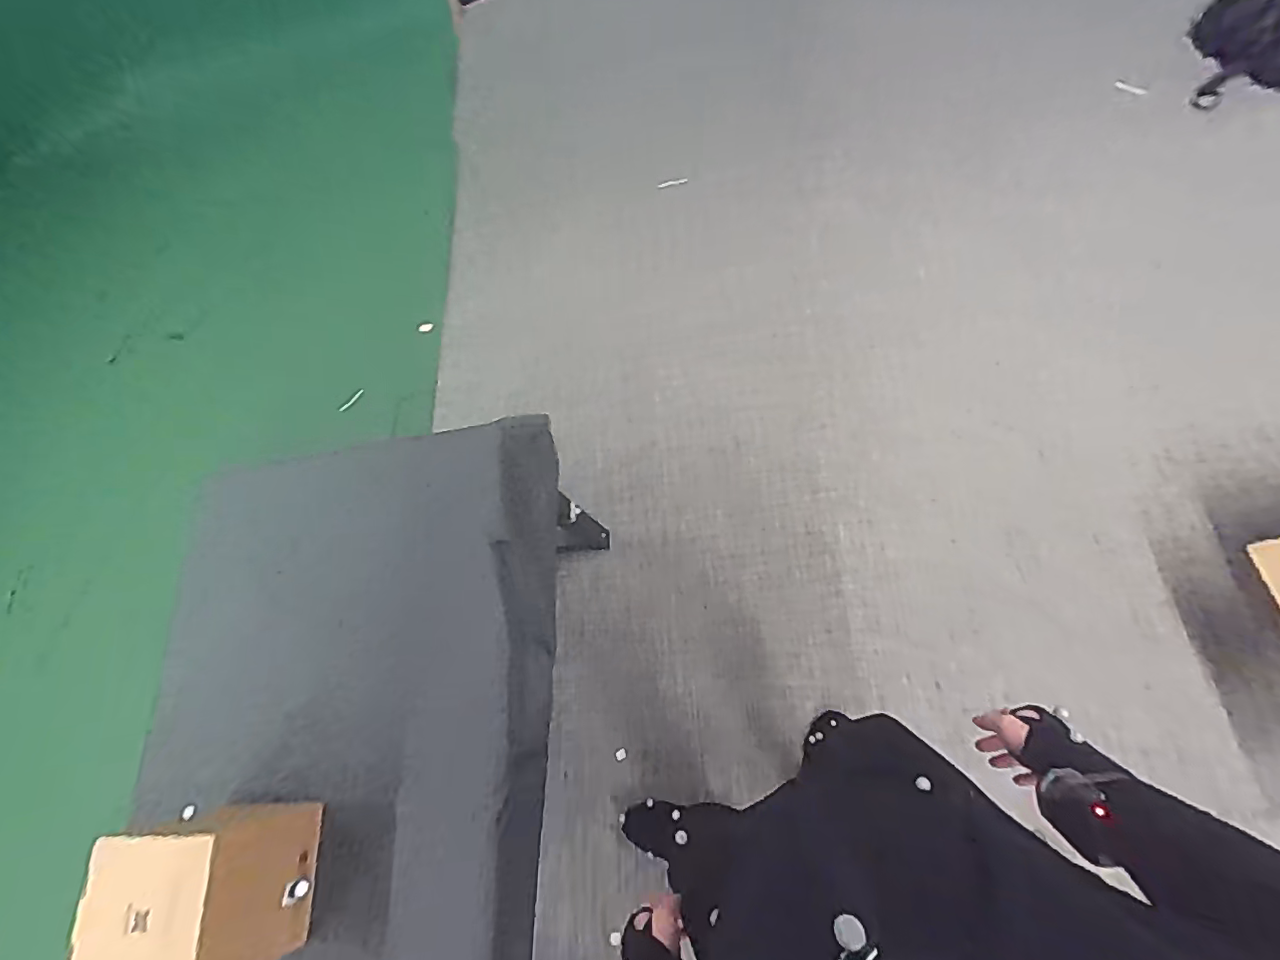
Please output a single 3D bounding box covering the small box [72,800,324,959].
[{"bbox_3d":[-0.540,0.516,0.678,0.179,0.176,0.168,-9,71,9],"label":"small box"}]
